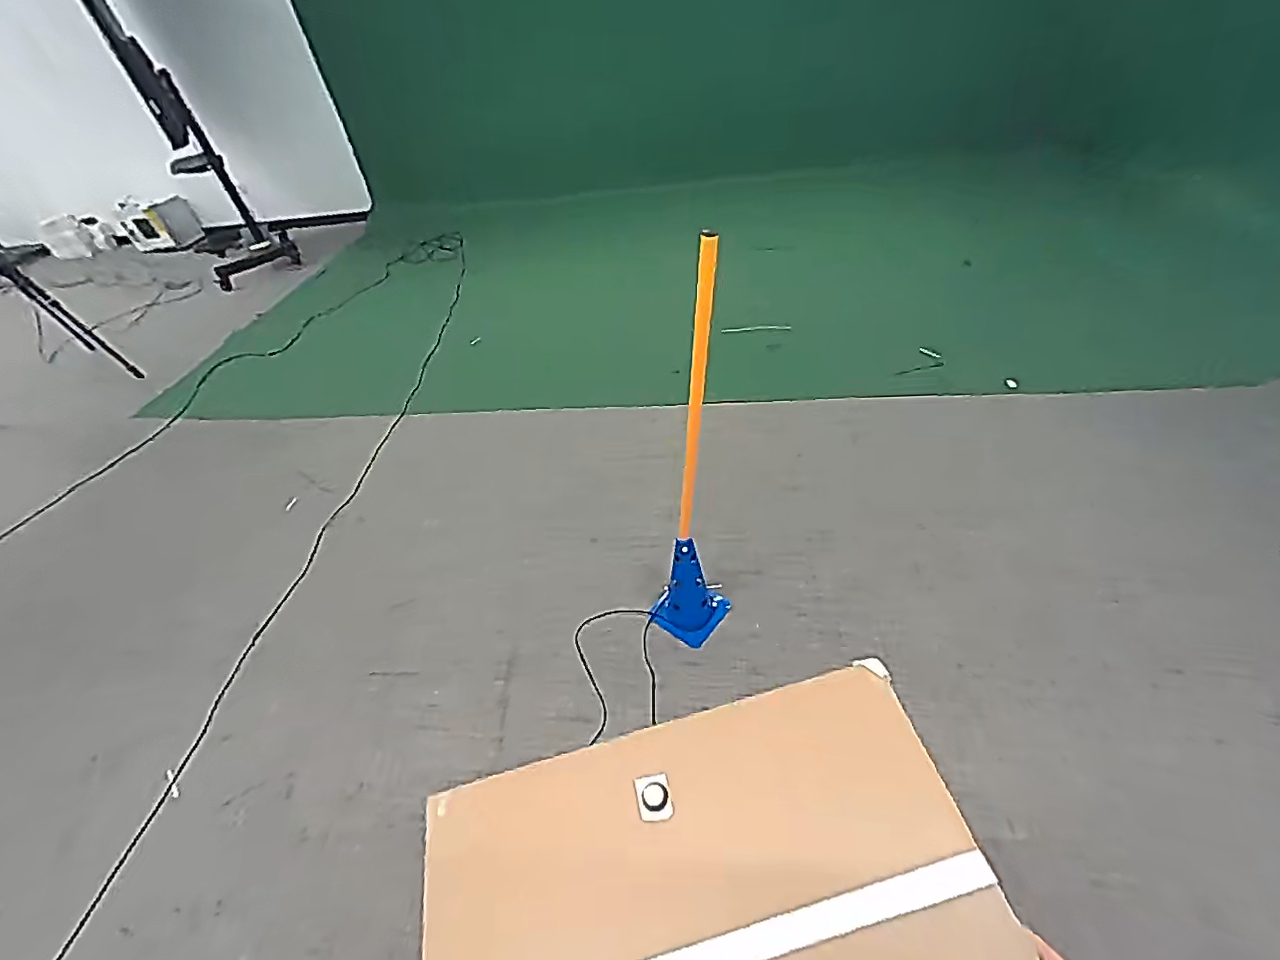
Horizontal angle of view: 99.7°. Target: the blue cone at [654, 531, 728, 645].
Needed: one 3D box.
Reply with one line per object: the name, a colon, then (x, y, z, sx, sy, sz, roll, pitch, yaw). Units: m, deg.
blue cone: (0.142, 0.281, 1.563, 0.192, 0.380, 0.193, 25, 51, 30)
